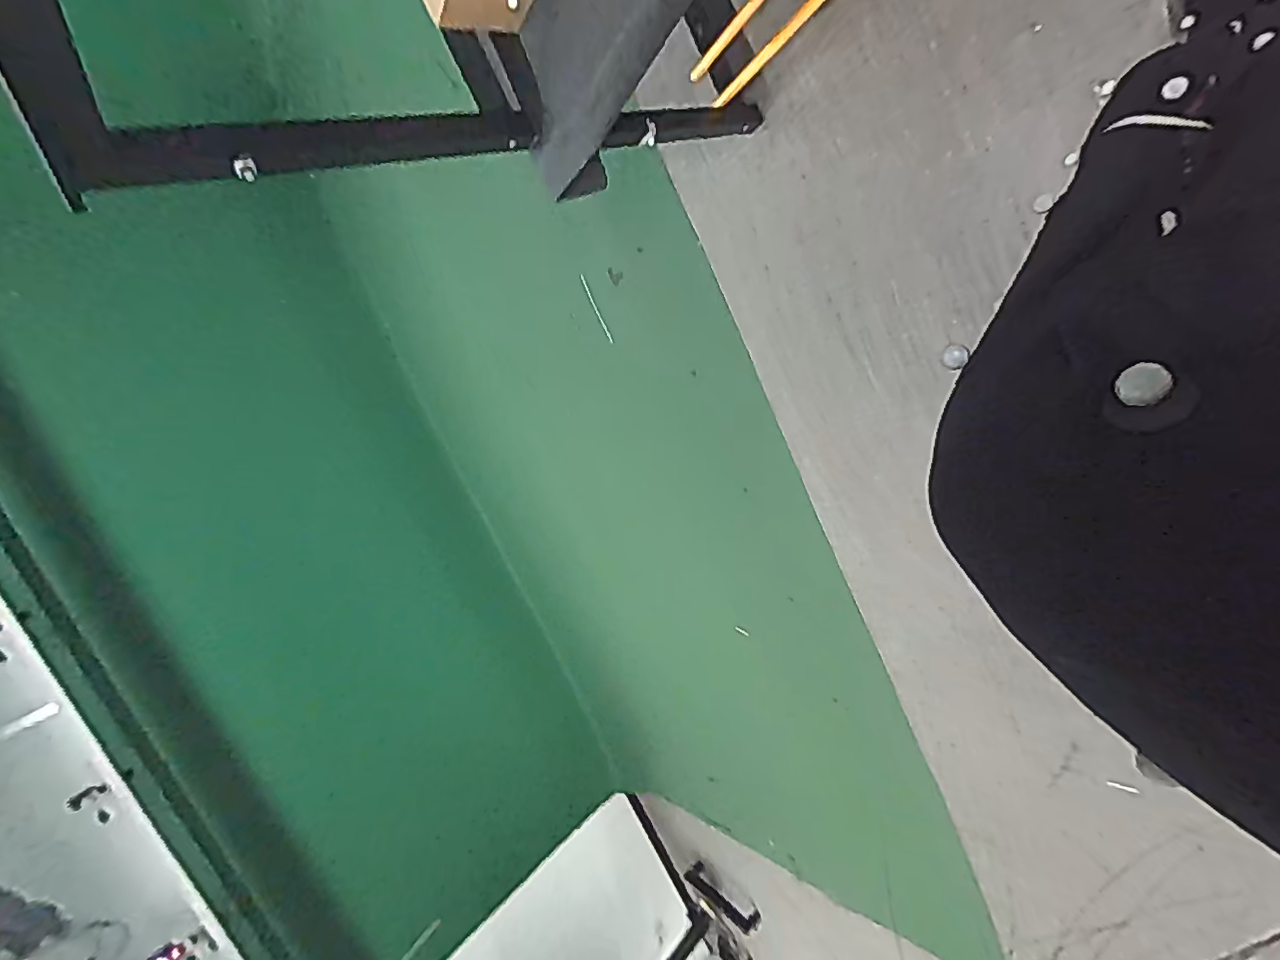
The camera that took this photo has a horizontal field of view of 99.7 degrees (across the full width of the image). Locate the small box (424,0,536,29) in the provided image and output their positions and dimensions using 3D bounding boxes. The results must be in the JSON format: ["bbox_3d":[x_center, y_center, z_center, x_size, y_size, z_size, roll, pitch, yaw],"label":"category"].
[{"bbox_3d":[-0.270,-0.883,0.882,0.168,0.176,0.179,-15,103,55],"label":"small box"}]
